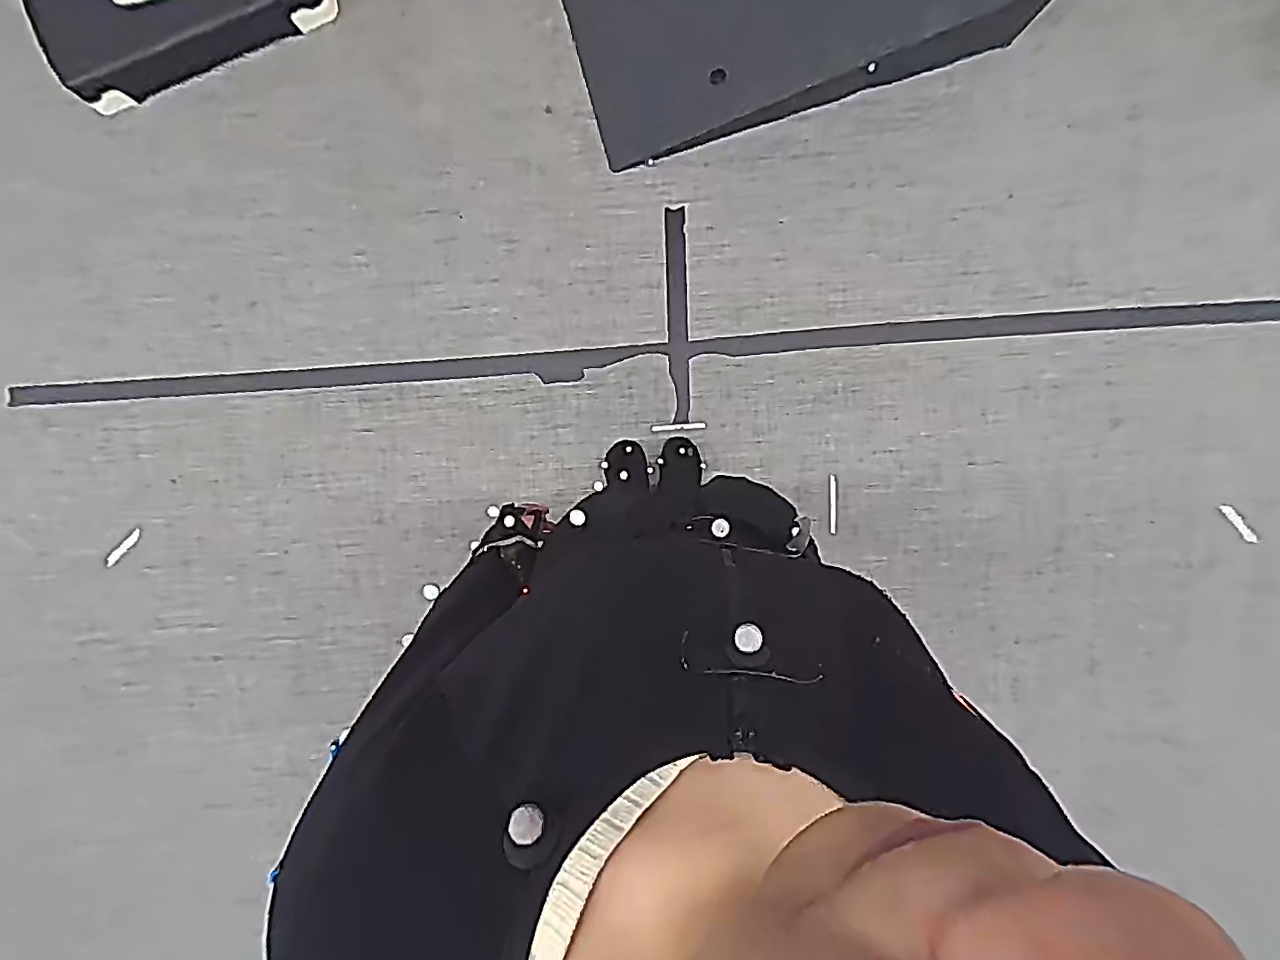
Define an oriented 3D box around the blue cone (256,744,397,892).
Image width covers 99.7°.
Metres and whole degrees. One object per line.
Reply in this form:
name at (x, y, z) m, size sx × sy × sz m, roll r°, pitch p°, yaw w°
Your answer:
blue cone at (-0.765, 0.825, 1.311) m, size 0.192 × 0.380 × 0.193 m, roll -2°, pitch 95°, yaw 3°
